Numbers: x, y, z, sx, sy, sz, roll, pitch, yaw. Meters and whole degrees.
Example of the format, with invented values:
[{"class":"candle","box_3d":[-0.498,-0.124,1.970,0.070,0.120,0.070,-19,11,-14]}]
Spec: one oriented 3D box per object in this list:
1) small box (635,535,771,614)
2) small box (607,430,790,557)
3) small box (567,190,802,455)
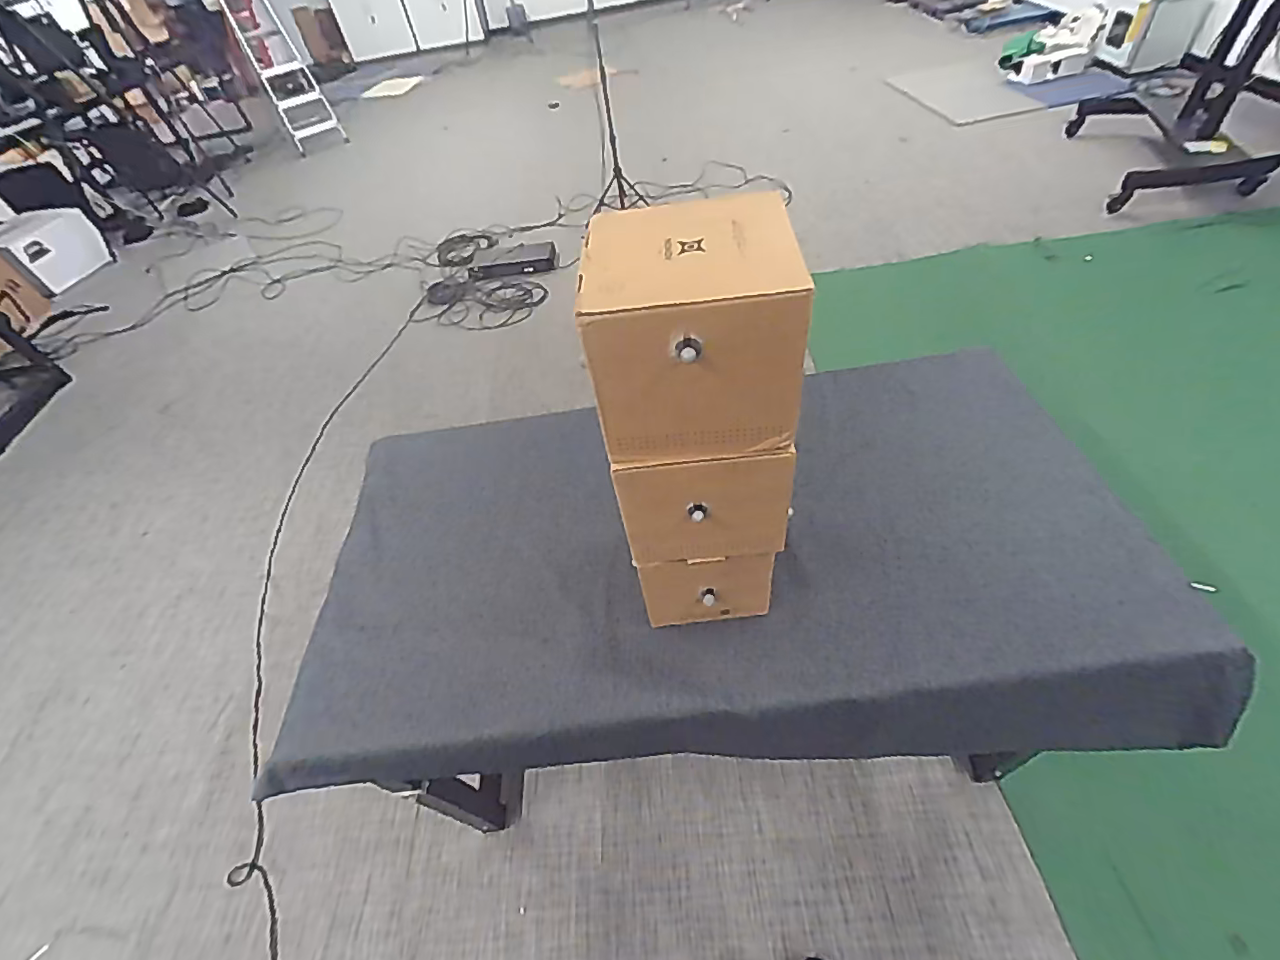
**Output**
[{"class":"small box","box_3d":[0.082,0.072,0.750,0.168,0.176,0.179,-9,50,4]},{"class":"small box","box_3d":[0.065,-0.028,0.620,0.179,0.176,0.168,-7,49,6]},{"class":"small box","box_3d":[0.043,-0.138,0.503,0.179,0.176,0.168,-5,50,6]}]
